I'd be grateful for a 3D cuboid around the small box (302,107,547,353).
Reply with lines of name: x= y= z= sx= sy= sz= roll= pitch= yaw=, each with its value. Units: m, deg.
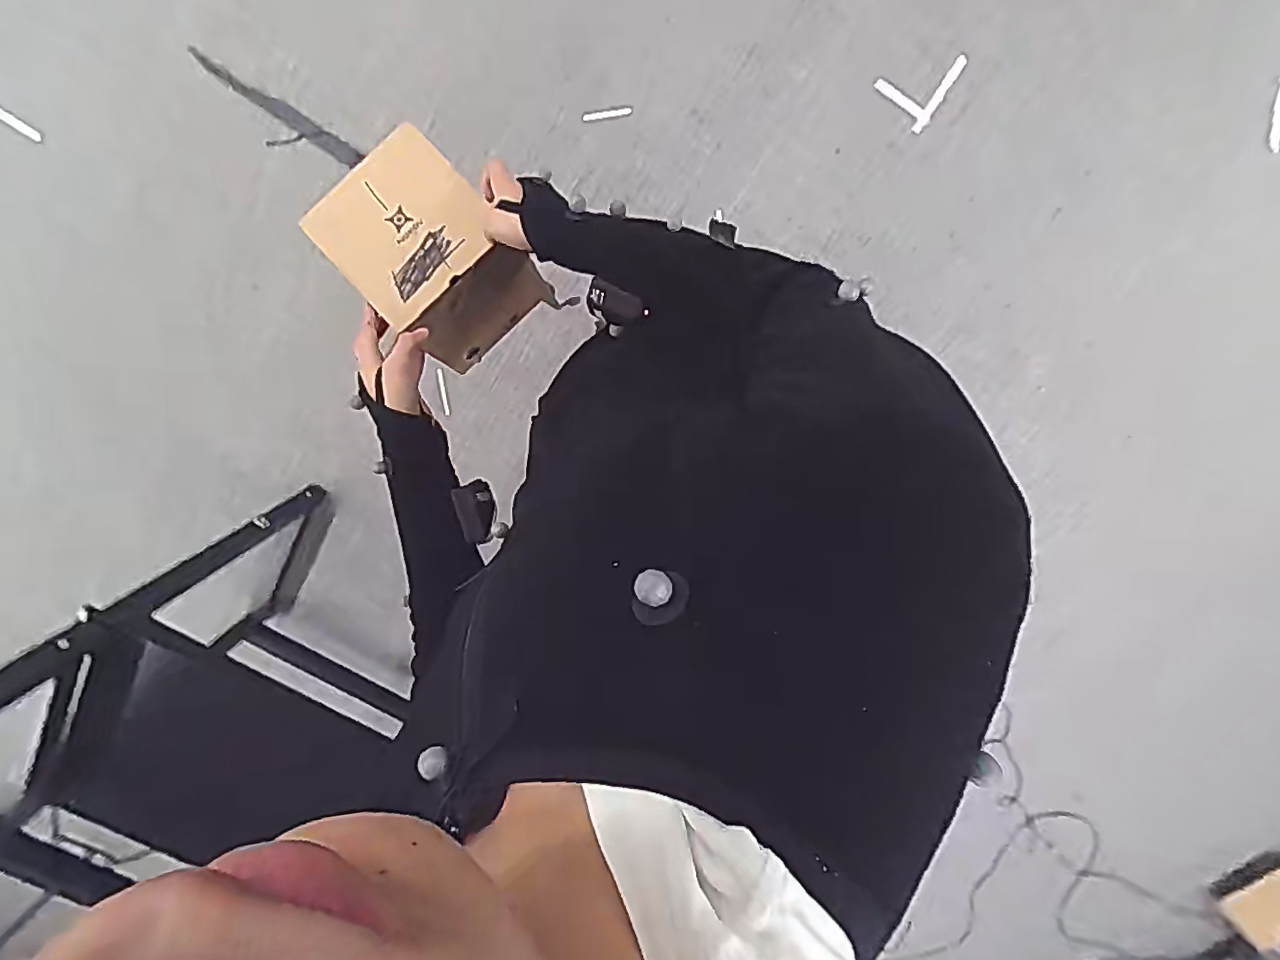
small box: x=-0.236 y=-0.273 z=0.642 sx=0.168 sy=0.176 sz=0.179 roll=-43 pitch=85 yaw=0
